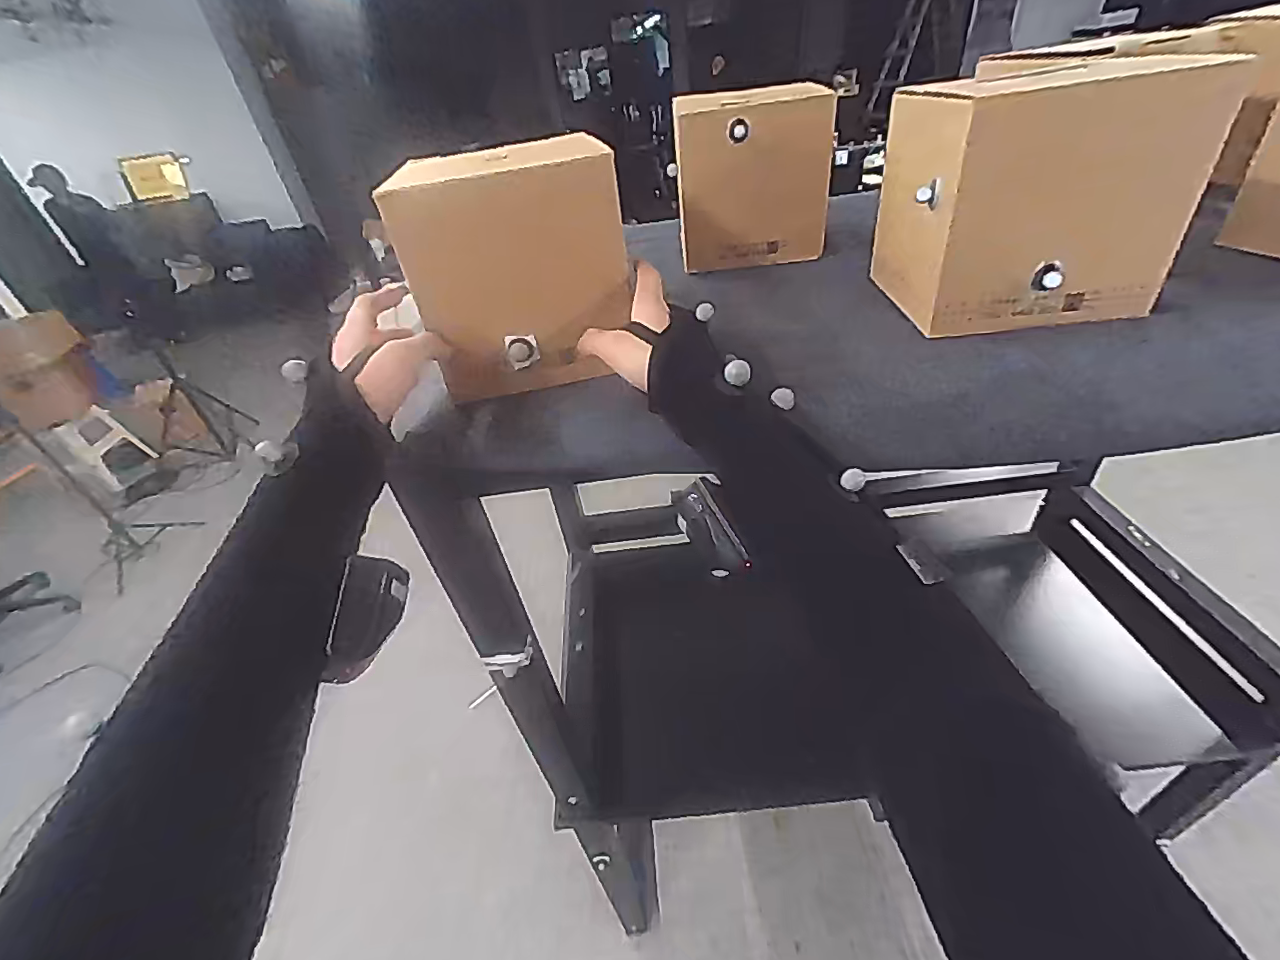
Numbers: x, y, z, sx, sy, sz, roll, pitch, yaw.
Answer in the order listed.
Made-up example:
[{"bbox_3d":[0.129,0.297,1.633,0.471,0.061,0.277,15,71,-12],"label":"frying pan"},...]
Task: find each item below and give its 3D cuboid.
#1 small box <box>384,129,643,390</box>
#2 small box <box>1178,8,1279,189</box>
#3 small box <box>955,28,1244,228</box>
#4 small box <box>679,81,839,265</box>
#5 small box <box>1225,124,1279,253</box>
[{"bbox_3d":[-0.100,-0.200,0.483,0.168,0.176,0.179,-13,37,-5],"label":"small box"},{"bbox_3d":[0.793,-0.459,0.648,0.168,0.176,0.179,-15,40,-6],"label":"small box"},{"bbox_3d":[0.511,-0.408,0.639,0.168,0.176,0.179,-8,37,0],"label":"small box"},{"bbox_3d":[0.136,-0.380,0.673,0.168,0.176,0.179,-5,37,6],"label":"small box"},{"bbox_3d":[0.650,-0.267,0.426,0.168,0.176,0.179,-10,36,-1],"label":"small box"}]
